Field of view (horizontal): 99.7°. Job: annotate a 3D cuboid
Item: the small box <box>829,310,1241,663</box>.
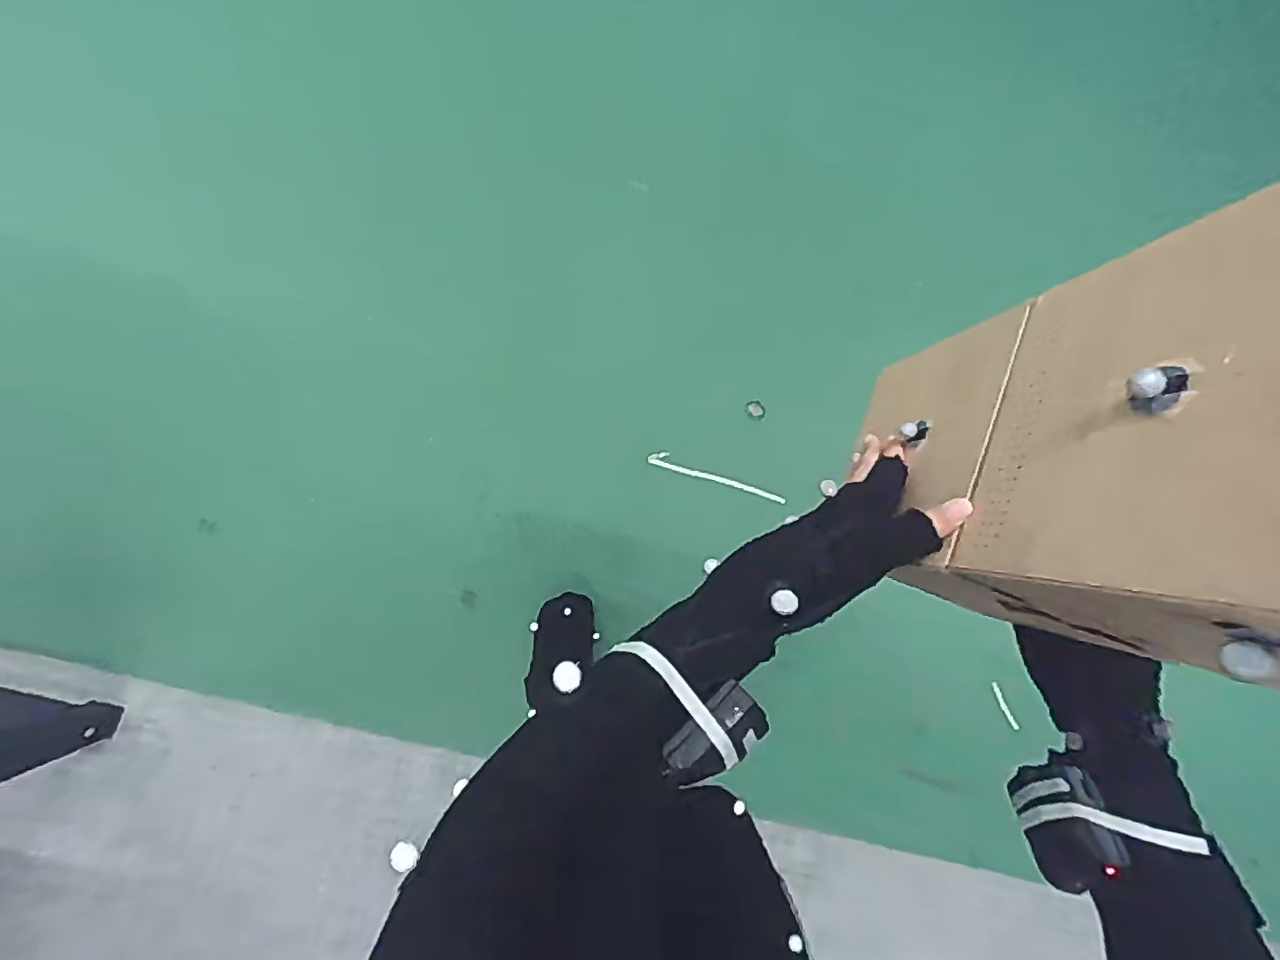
[{"bbox_3d":[0.269,0.008,0.411,0.168,0.176,0.179,21,84,-5],"label":"small box"}]
